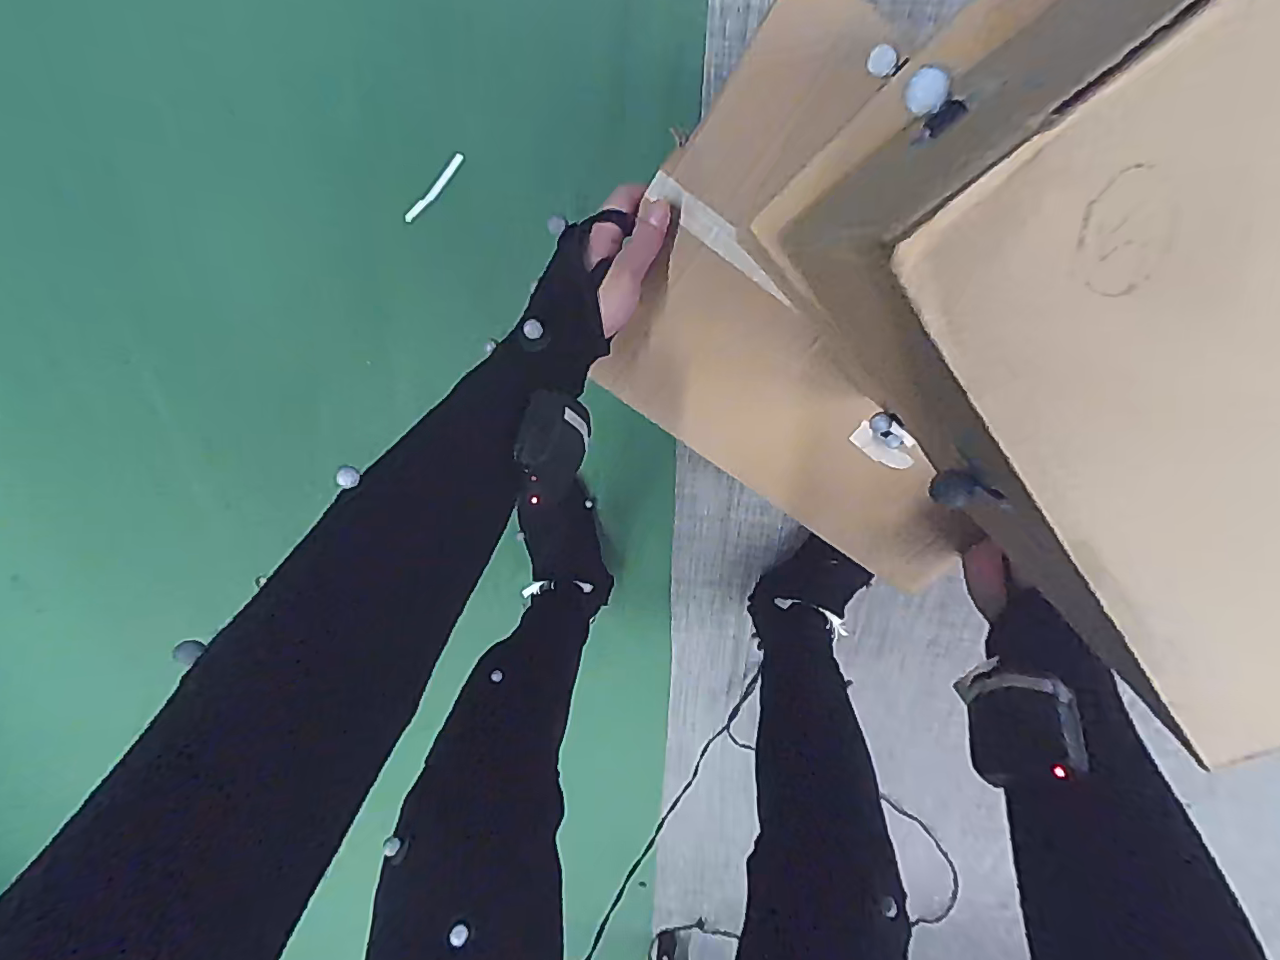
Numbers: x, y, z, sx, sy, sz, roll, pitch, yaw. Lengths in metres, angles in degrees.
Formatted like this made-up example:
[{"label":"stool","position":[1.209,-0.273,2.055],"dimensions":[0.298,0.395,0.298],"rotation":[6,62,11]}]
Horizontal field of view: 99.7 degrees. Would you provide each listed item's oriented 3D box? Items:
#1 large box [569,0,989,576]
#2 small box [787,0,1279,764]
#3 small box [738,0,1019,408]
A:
[{"label":"large box","position":[0.199,-0.185,0.554],"dimensions":[0.408,0.320,0.320],"rotation":[33,117,-9]},{"label":"small box","position":[0.163,-0.066,0.160],"dimensions":[0.168,0.176,0.179],"rotation":[-36,107,21]},{"label":"small box","position":[0.170,-0.147,0.303],"dimensions":[0.179,0.176,0.168],"rotation":[44,112,-13]}]
